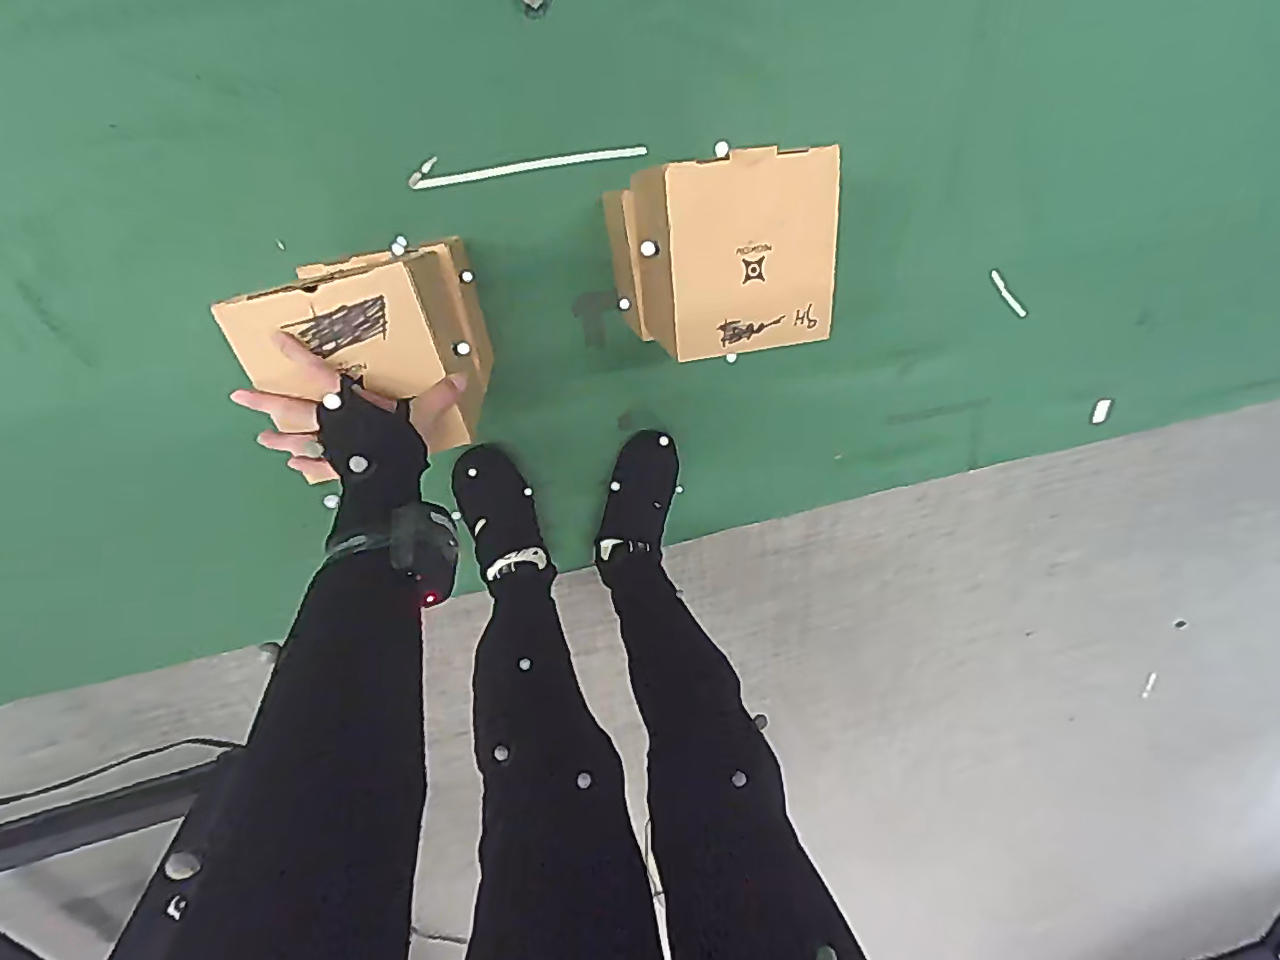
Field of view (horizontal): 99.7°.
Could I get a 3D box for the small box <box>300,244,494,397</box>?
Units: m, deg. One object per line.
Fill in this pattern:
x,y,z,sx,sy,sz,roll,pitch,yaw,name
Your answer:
-0.296,-0.201,0.708,0.168,0.176,0.179,-12,117,-5,small box

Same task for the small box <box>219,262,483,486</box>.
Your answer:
-0.274,-0.122,0.565,0.168,0.176,0.179,-14,118,-3,small box

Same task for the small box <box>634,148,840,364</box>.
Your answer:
0.092,-0.238,0.579,0.168,0.176,0.179,-10,117,-7,small box
